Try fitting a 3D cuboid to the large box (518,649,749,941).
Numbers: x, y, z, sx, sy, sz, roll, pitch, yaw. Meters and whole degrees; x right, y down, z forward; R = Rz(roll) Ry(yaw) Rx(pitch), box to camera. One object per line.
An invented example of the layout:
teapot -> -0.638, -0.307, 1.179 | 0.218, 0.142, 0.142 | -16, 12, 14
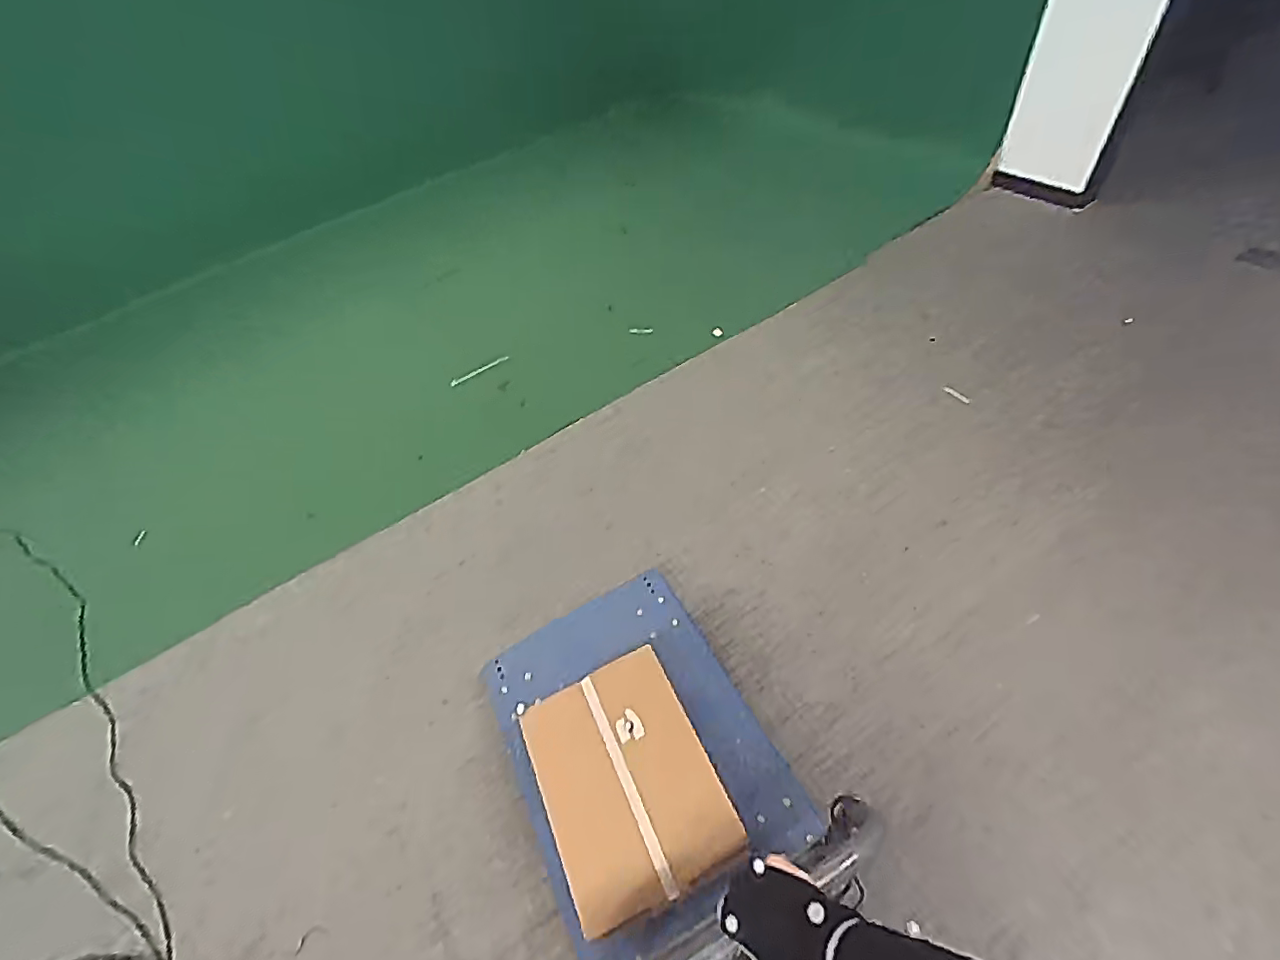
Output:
large box -> -0.010, 0.652, 1.140 | 0.320, 0.320, 0.408 | -25, 50, -9
